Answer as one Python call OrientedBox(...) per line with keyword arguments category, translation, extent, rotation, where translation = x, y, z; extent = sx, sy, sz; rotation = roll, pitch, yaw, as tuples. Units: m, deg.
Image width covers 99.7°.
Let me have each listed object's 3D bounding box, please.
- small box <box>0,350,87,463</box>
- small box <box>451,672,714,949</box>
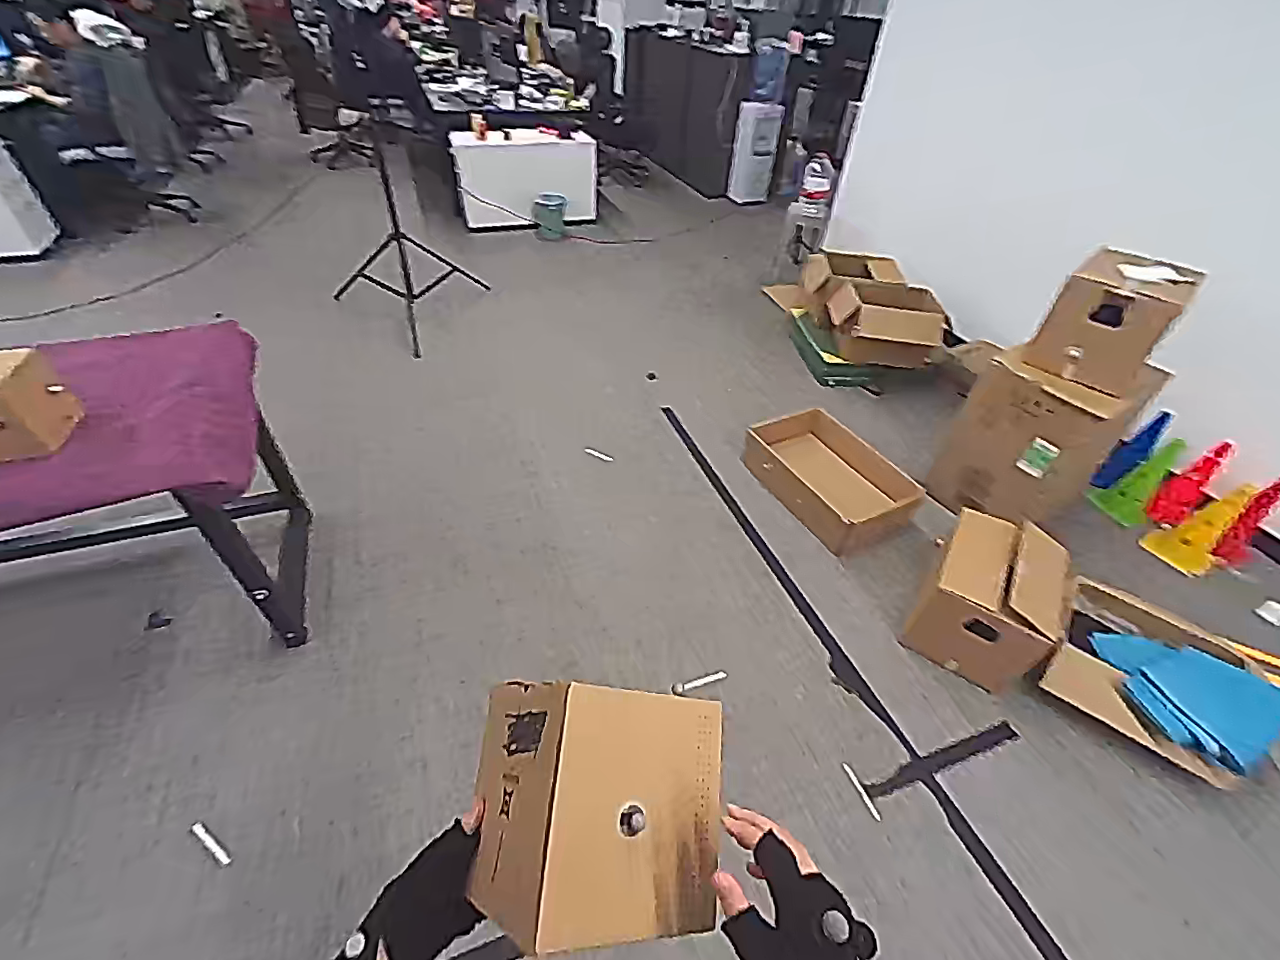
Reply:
OrientedBox(category="small box", translation=(-1.316, -0.145, 1.114), extent=(0.179, 0.176, 0.168), rotation=(-12, 43, -14))
OrientedBox(category="small box", translation=(-0.046, 0.279, 0.492), extent=(0.176, 0.168, 0.179), rotation=(19, 61, -30))
